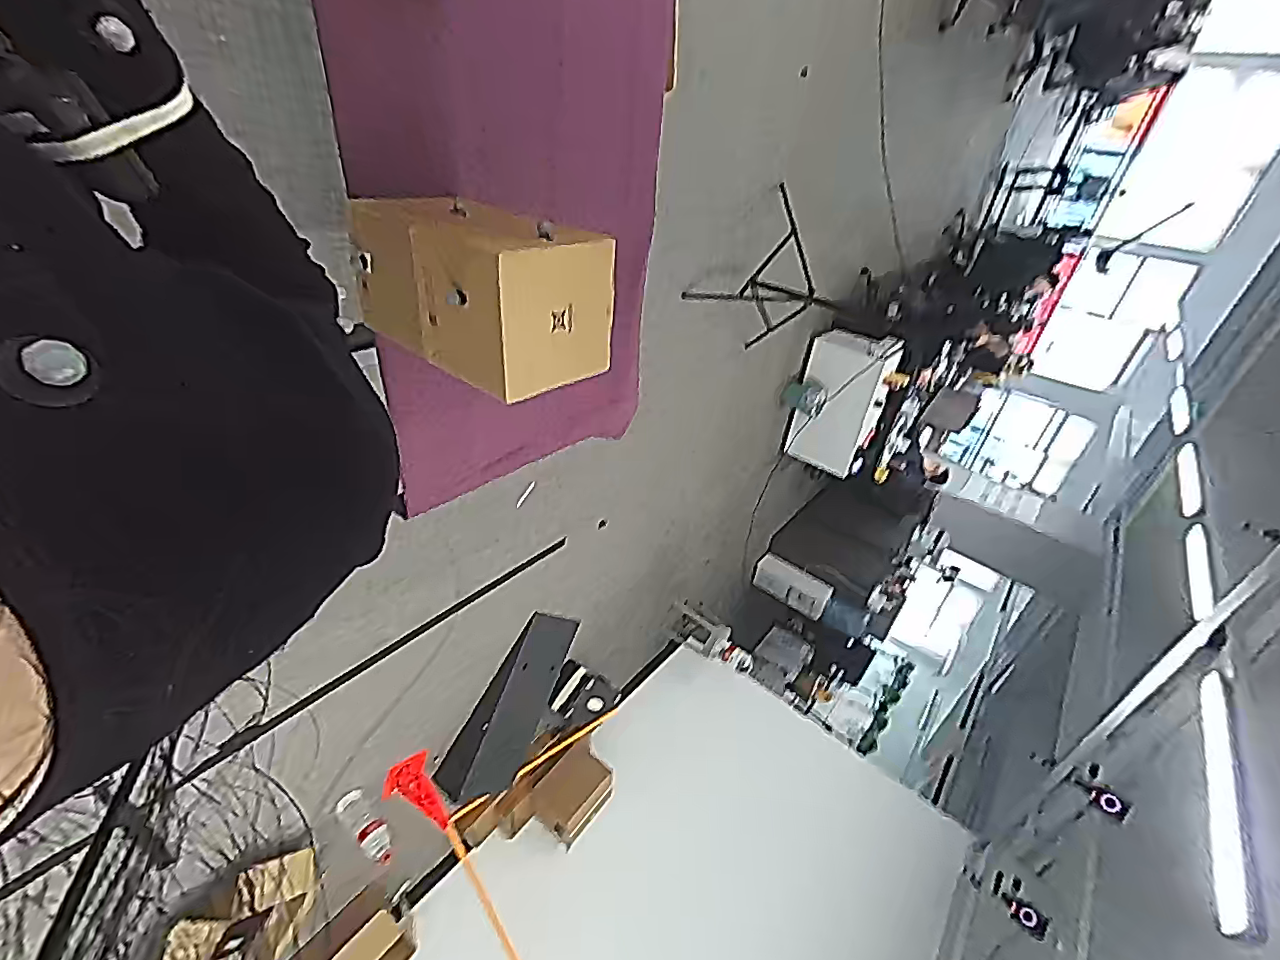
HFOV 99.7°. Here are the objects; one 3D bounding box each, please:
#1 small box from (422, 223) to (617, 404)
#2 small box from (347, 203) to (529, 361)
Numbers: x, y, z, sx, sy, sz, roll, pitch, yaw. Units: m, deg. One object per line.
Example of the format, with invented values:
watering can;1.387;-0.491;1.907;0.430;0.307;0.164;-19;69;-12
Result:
small box;-0.150;-0.216;0.673;0.179;0.176;0.168;-31;137;-42
small box;-0.272;-0.285;0.756;0.179;0.176;0.168;-29;136;-42
